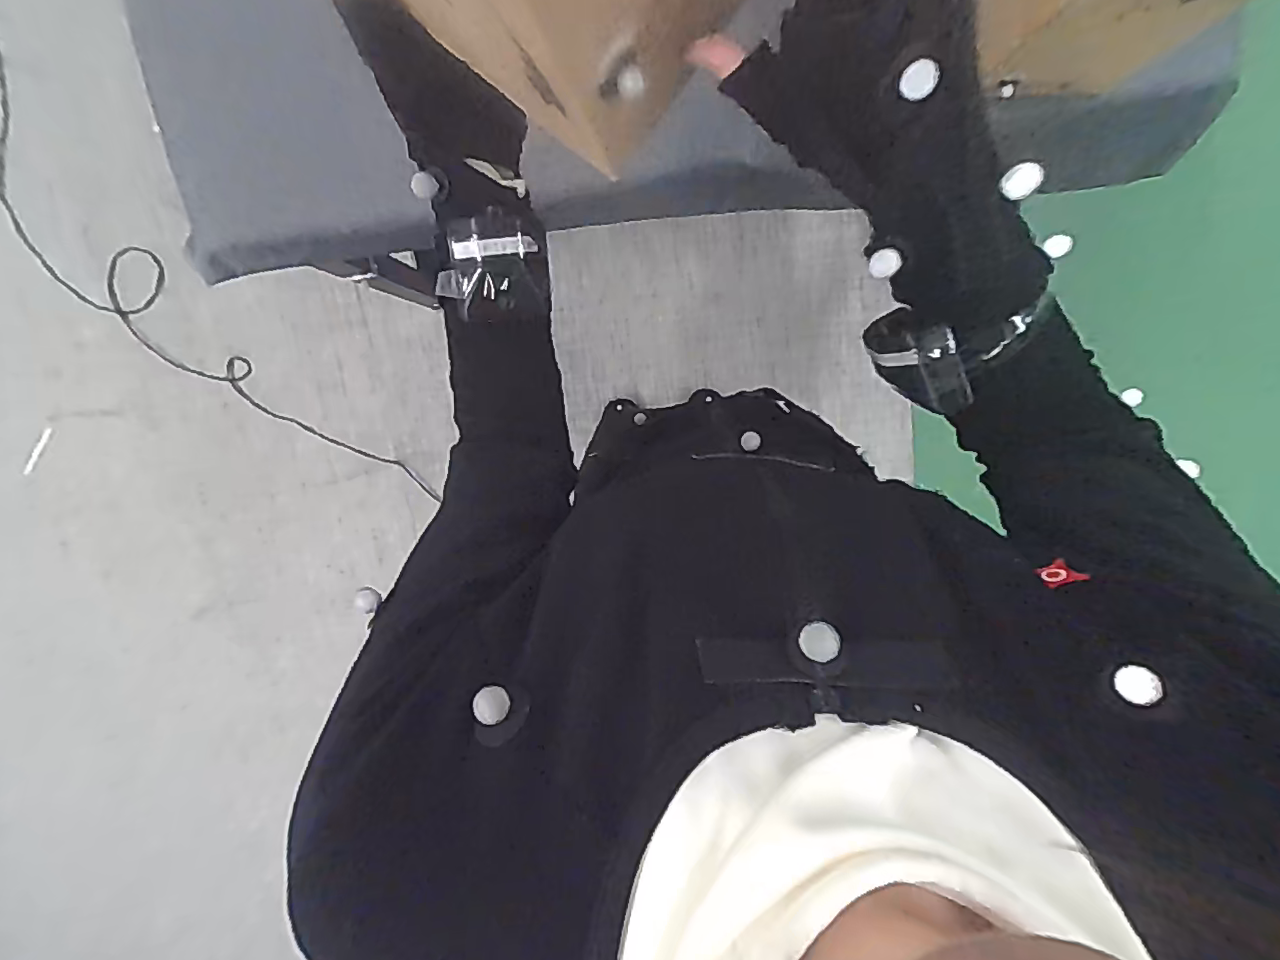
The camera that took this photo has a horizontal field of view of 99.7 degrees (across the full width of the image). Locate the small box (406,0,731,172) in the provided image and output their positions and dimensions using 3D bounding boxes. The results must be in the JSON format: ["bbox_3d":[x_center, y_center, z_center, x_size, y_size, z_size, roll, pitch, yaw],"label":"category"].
[{"bbox_3d":[-0.037,-0.270,0.197,0.179,0.168,0.176,42,101,2],"label":"small box"}]
